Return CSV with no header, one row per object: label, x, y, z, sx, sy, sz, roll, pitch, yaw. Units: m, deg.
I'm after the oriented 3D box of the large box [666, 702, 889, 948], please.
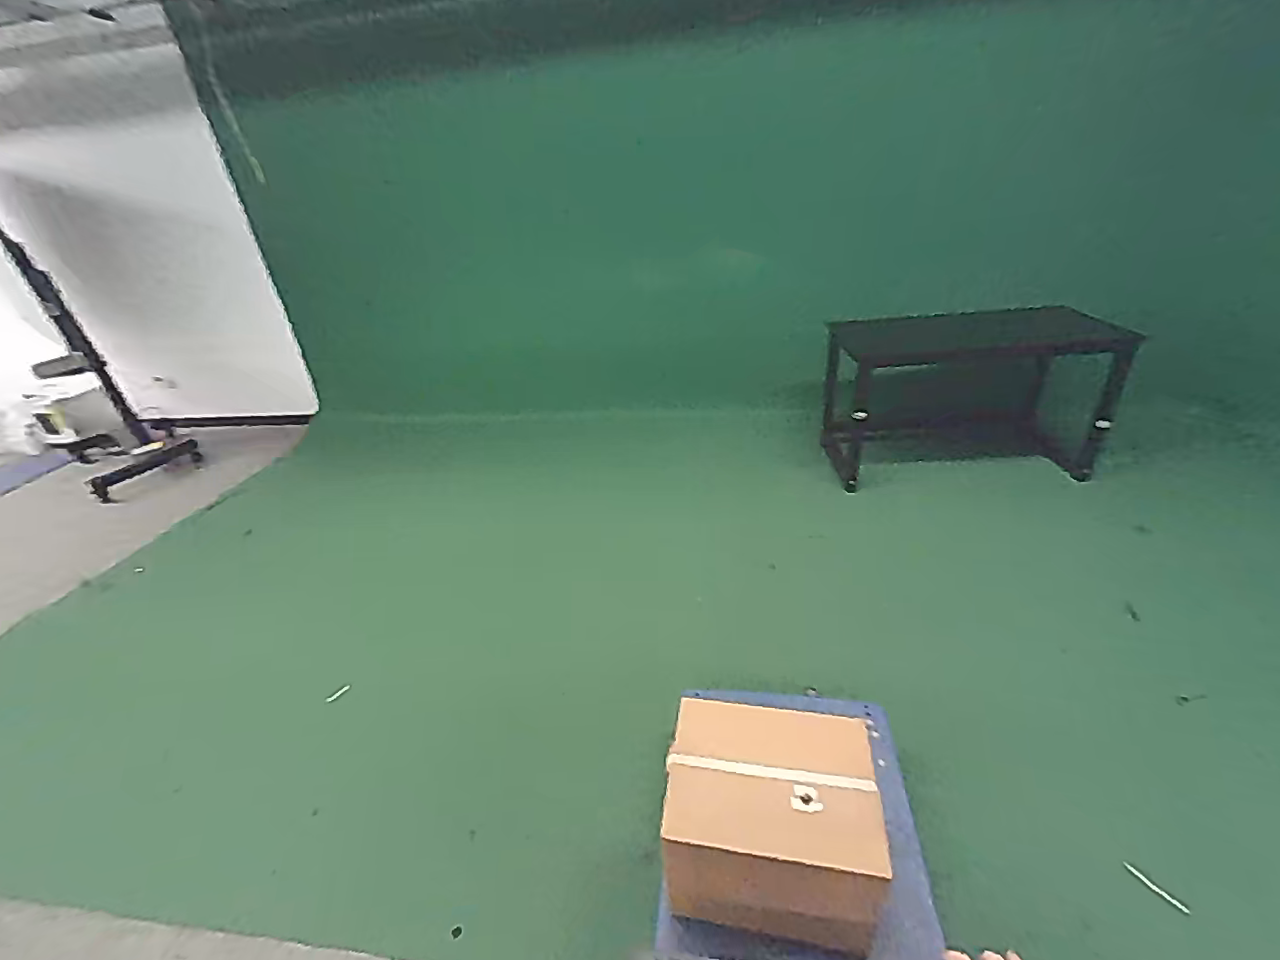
large box,0.277,0.731,1.176,0.408,0.320,0.320,3,31,12
